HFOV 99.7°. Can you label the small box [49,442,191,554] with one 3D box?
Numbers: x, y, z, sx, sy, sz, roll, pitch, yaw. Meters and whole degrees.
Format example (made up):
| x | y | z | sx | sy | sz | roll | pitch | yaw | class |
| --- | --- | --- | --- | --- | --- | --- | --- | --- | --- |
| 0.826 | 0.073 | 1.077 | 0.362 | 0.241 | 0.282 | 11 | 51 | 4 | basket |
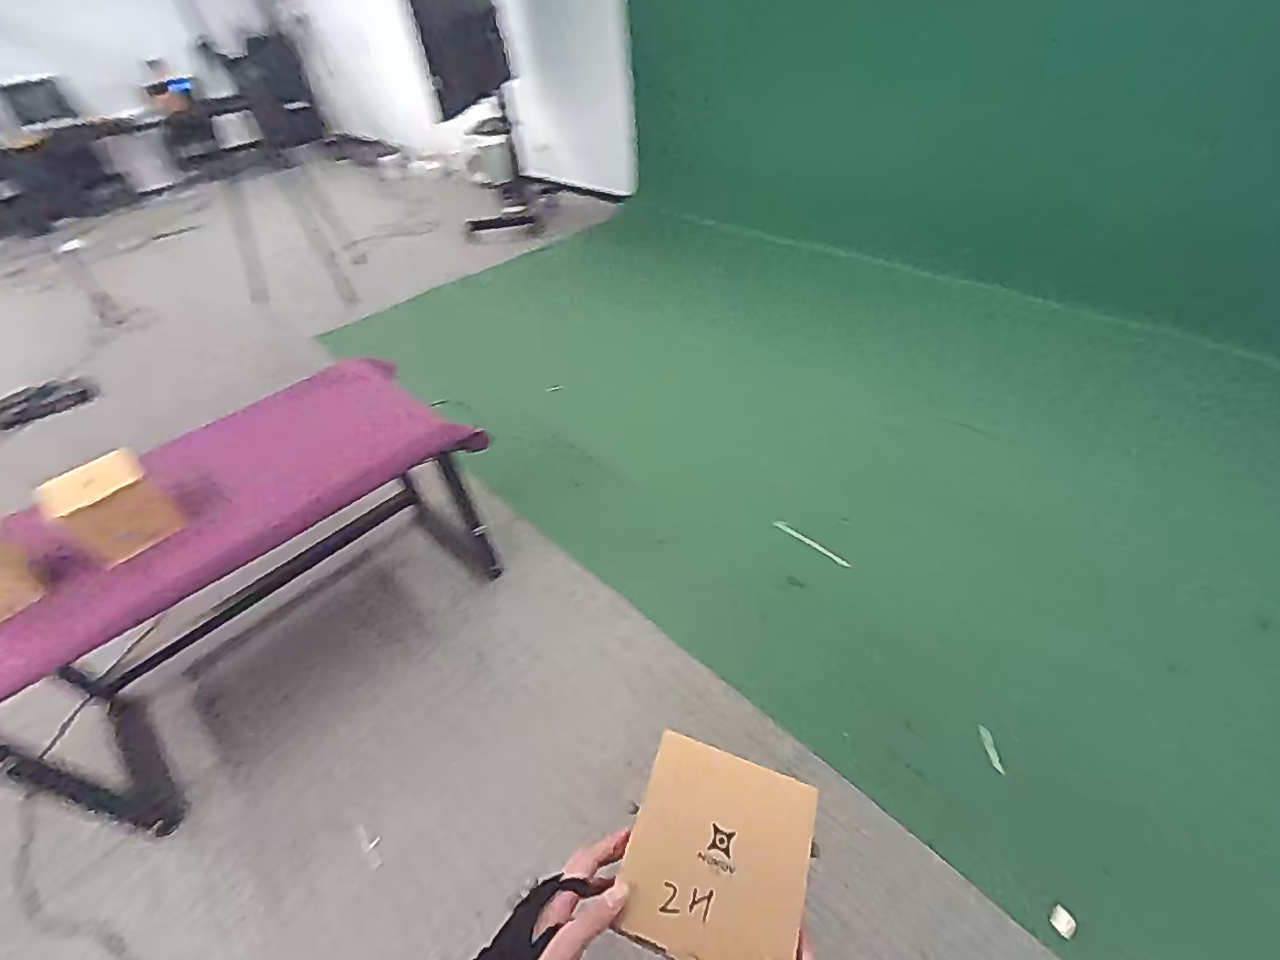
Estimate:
| x | y | z | sx | sy | sz | roll | pitch | yaw | class |
| --- | --- | --- | --- | --- | --- | --- | --- | --- | --- |
| -1.225 | 0.044 | 1.281 | 0.179 | 0.176 | 0.168 | 31 | 54 | 31 | small box |
